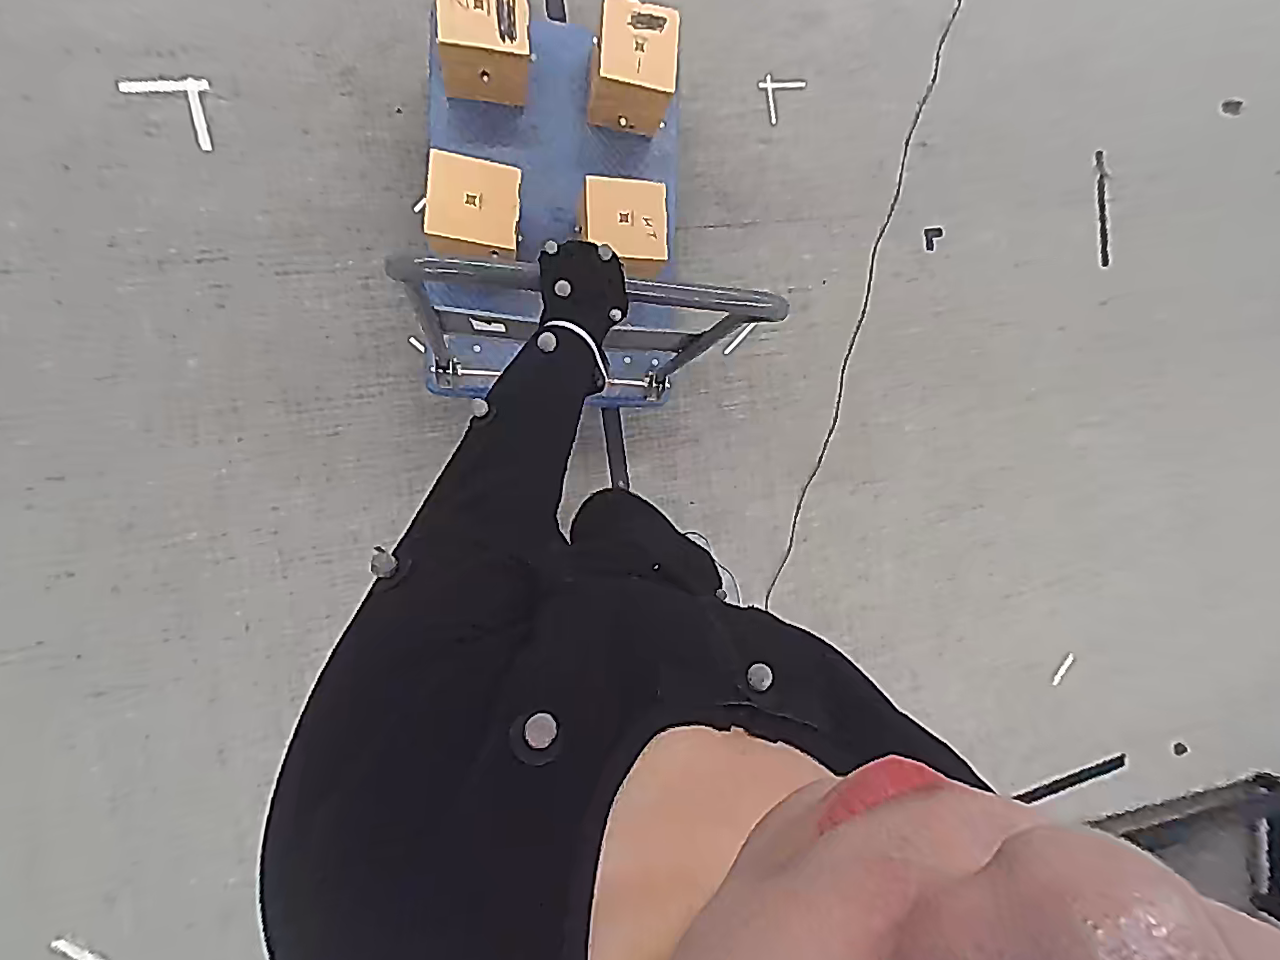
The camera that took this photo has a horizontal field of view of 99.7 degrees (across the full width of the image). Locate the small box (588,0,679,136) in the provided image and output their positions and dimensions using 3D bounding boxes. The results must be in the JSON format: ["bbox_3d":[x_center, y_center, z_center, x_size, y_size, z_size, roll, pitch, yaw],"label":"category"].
[{"bbox_3d":[-0.021,-0.918,1.208,0.168,0.176,0.179,3,92,-15],"label":"small box"}]

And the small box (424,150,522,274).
[{"bbox_3d":[-0.347,-0.551,1.138,0.179,0.176,0.168,4,91,-16],"label":"small box"}]

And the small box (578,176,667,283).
[{"bbox_3d":[-0.046,-0.552,1.213,0.179,0.176,0.168,-2,93,-14],"label":"small box"}]
